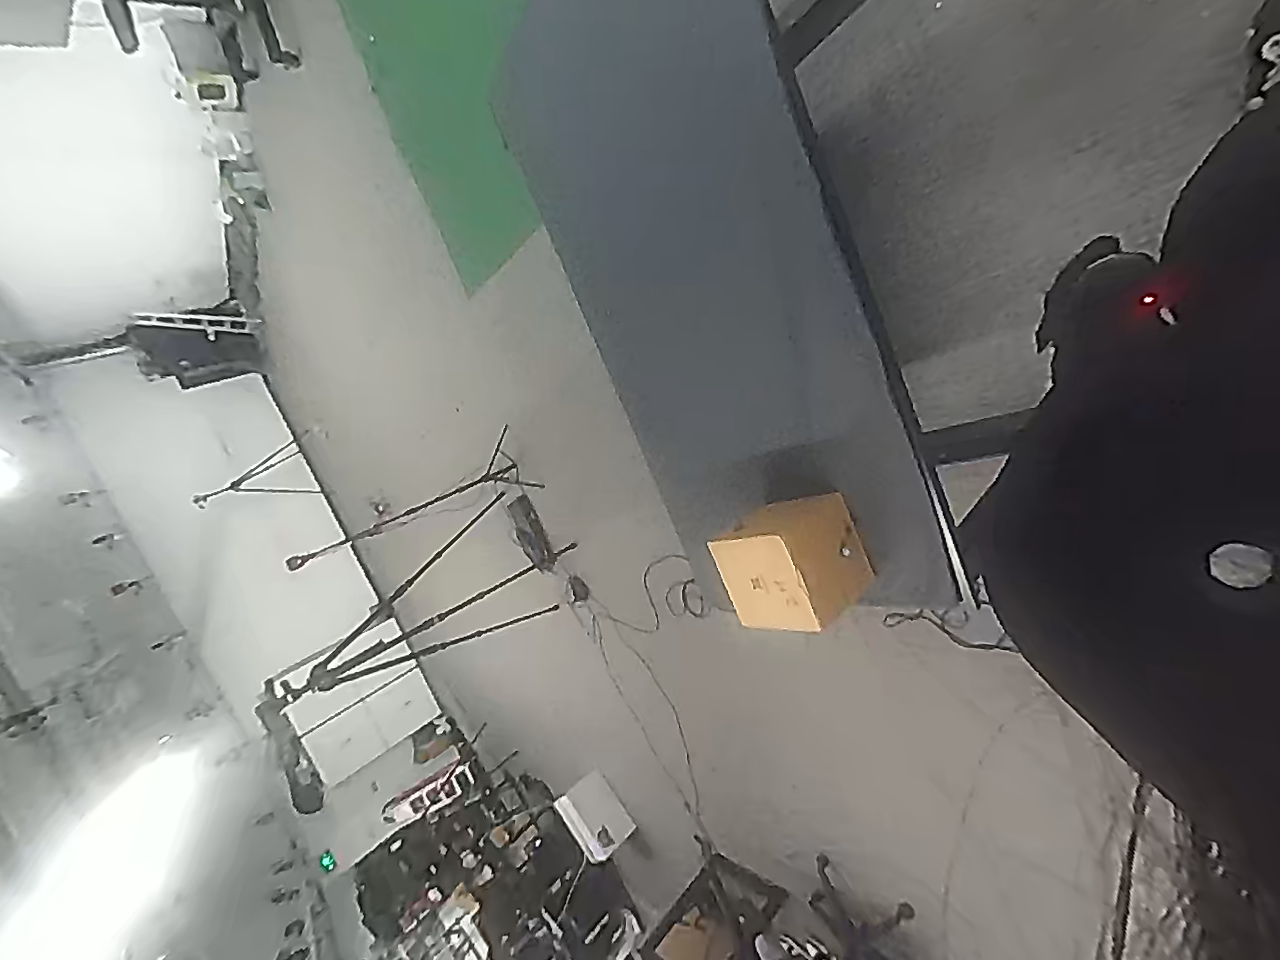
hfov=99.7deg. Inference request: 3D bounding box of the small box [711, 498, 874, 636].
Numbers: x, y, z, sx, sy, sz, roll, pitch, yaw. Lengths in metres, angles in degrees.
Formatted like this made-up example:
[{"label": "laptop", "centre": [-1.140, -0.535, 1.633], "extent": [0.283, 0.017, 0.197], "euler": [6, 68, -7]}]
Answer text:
[{"label": "small box", "centre": [0.258, 0.144, 0.919], "extent": [0.179, 0.176, 0.168], "euler": [-17, 98, 55]}]
